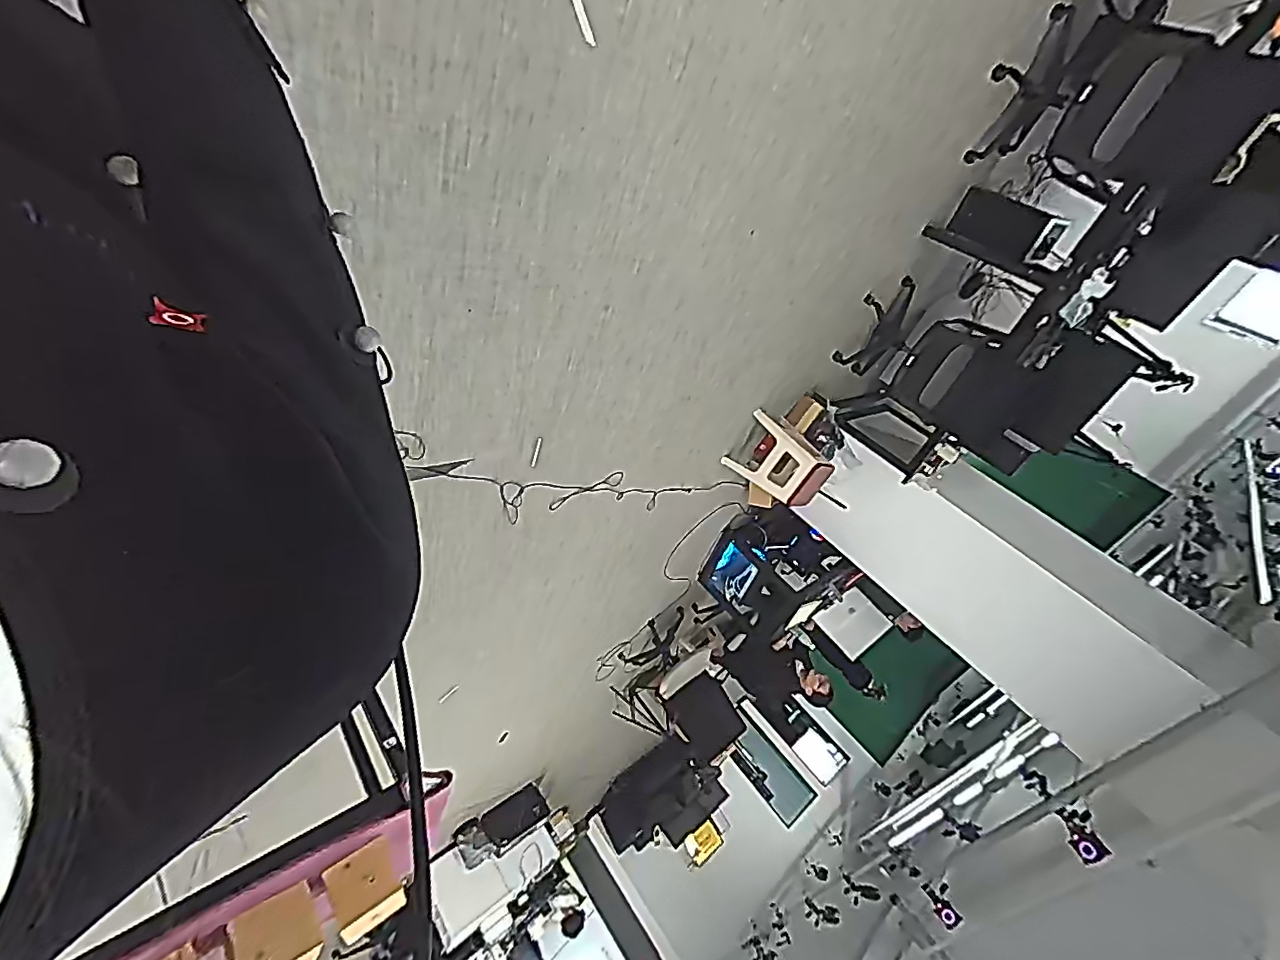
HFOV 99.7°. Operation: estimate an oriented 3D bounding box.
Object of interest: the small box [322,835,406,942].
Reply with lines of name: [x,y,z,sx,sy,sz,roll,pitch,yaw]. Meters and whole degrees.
small box: [-0.801,1.178,1.570,0.168,0.176,0.179,-21,142,-36]
